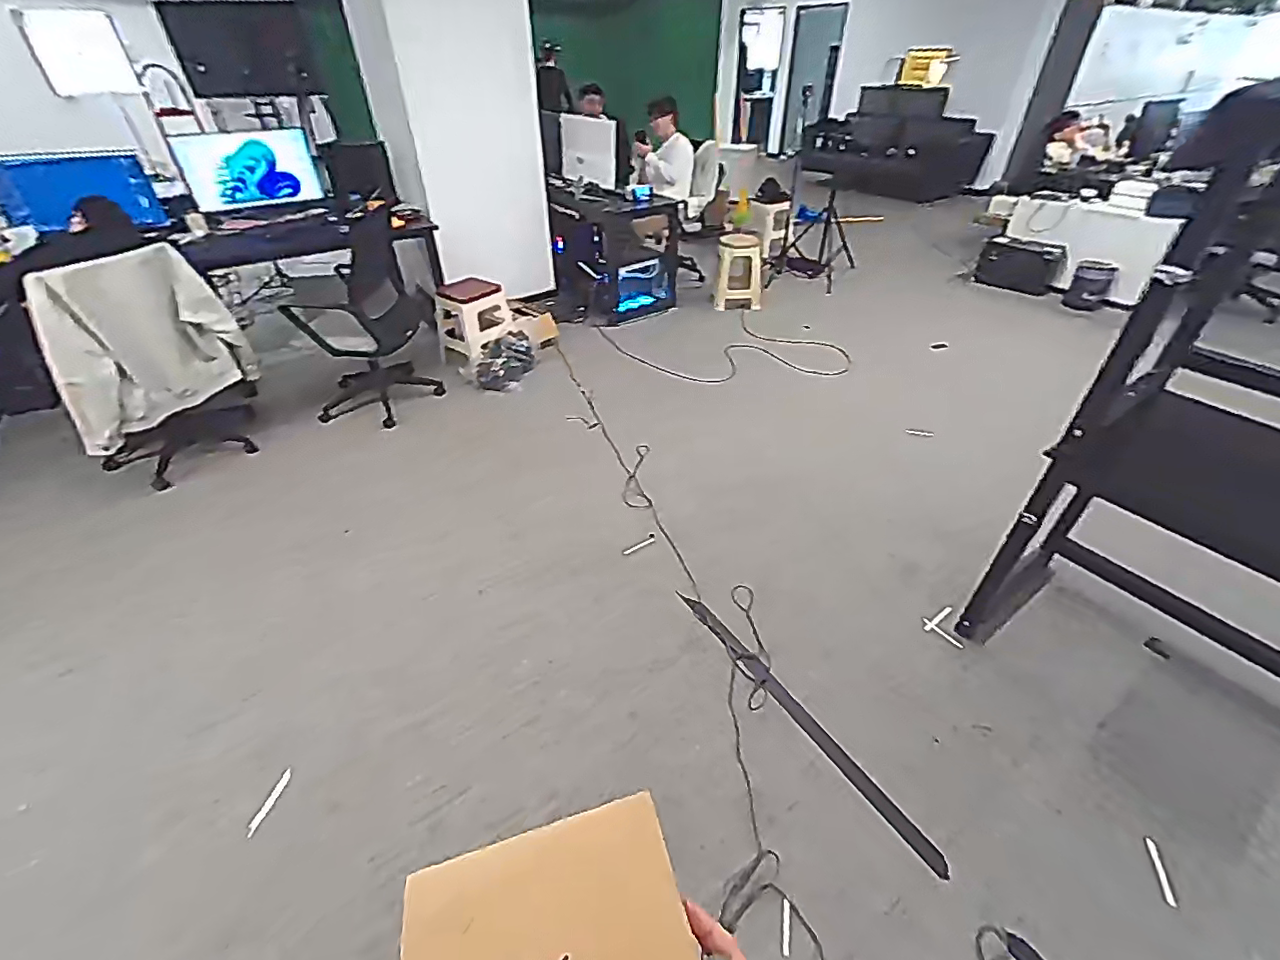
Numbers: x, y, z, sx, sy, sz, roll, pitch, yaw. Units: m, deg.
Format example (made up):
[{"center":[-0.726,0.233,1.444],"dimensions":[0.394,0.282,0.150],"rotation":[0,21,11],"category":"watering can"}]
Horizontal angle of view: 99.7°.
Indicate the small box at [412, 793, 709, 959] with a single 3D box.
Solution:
[{"center":[-0.036,0.344,0.339],"dimensions":[0.168,0.176,0.179],"rotation":[-14,37,-10],"category":"small box"}]
